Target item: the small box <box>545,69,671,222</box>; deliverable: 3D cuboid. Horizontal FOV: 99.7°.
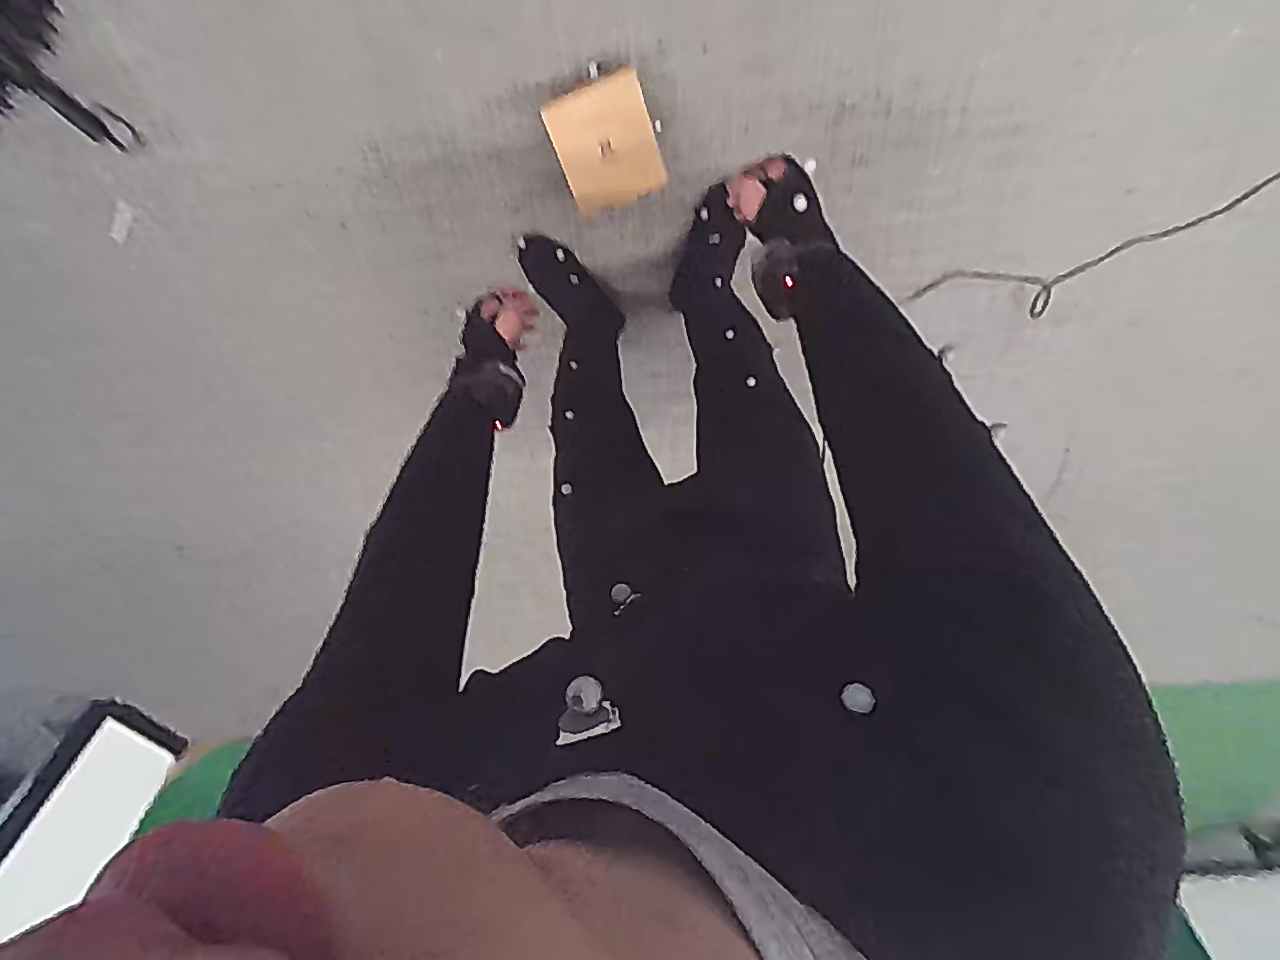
[{"bbox_3d":[-0.048,-0.599,0.967,0.168,0.176,0.179,-16,128,14],"label":"small box"}]
